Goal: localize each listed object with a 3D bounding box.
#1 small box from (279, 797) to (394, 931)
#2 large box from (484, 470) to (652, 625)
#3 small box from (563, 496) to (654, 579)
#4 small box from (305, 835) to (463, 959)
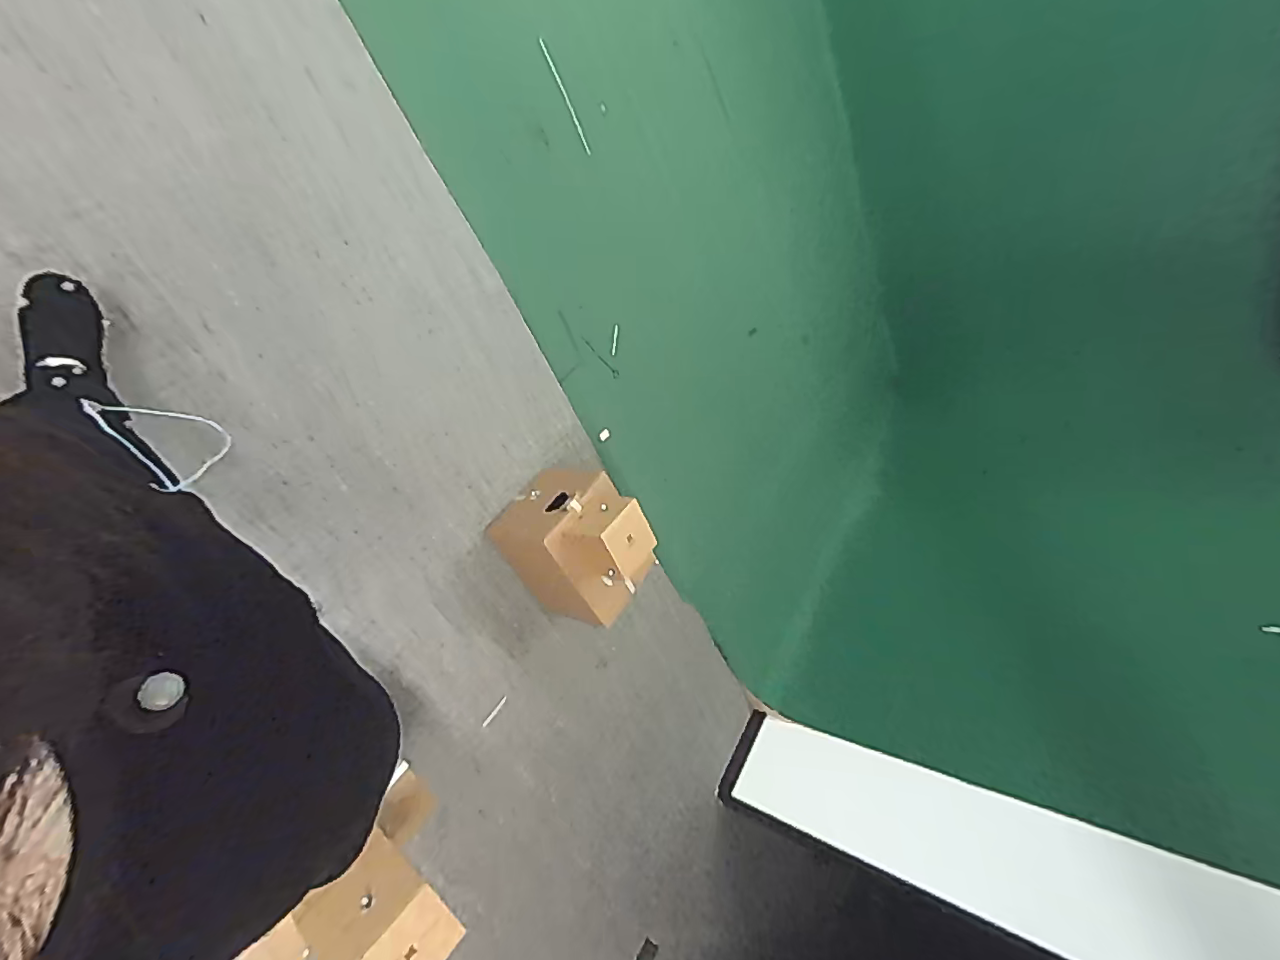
[{"bbox_3d":[-0.580,0.783,1.073,0.179,0.176,0.168,-42,123,-38],"label":"small box"},{"bbox_3d":[-0.230,0.211,1.791,0.320,0.320,0.408,-51,127,-33],"label":"large box"},{"bbox_3d":[-0.093,0.161,1.575,0.168,0.176,0.179,-47,125,-34],"label":"small box"},{"bbox_3d":[-0.459,0.791,0.961,0.179,0.176,0.168,-41,123,-40],"label":"small box"}]
